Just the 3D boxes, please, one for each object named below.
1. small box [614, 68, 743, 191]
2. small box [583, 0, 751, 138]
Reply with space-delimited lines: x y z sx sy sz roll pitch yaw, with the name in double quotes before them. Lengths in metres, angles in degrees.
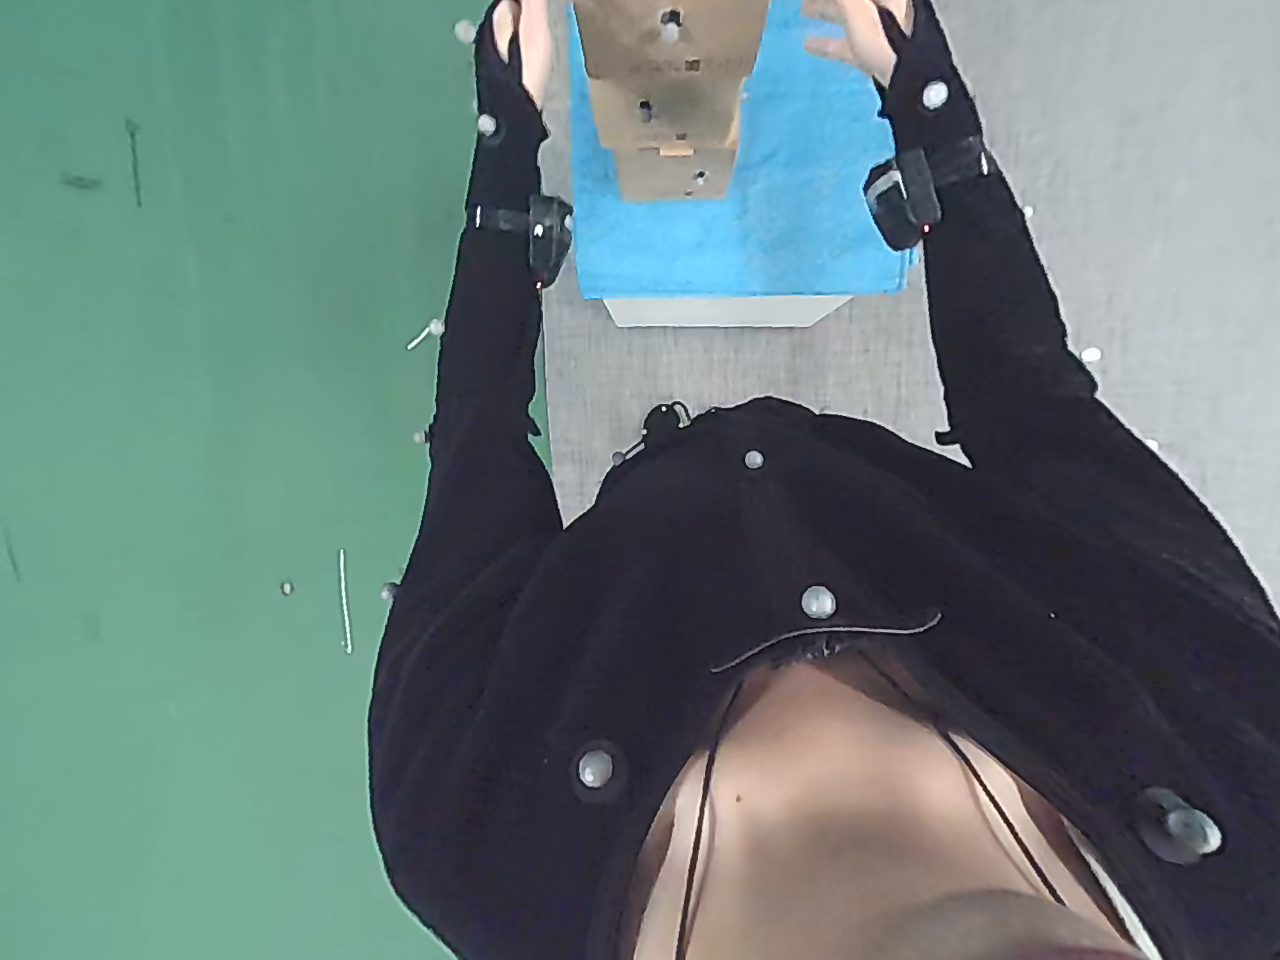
"small box" 0.053 -0.527 0.760 0.168 0.176 0.179 1 96 2
"small box" 0.032 -0.510 0.600 0.168 0.176 0.179 2 95 2
